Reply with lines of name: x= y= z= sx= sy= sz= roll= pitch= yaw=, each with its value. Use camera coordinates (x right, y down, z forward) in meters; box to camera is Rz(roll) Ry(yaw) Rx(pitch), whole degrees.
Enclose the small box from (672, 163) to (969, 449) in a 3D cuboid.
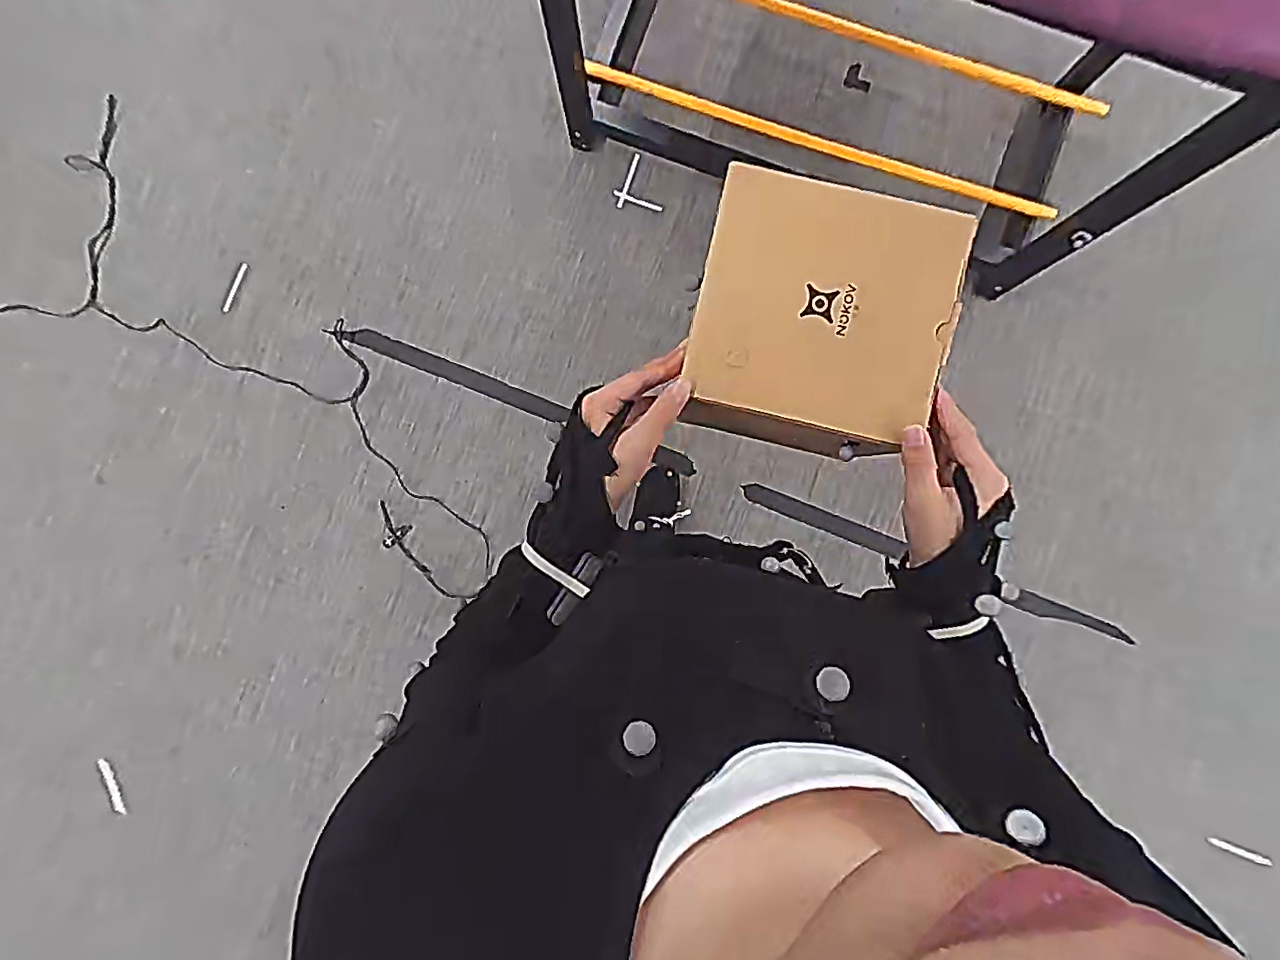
small box: x=0.128 y=-0.124 z=0.457 sx=0.179 sy=0.176 sz=0.168 roll=13 pitch=91 yaw=1
